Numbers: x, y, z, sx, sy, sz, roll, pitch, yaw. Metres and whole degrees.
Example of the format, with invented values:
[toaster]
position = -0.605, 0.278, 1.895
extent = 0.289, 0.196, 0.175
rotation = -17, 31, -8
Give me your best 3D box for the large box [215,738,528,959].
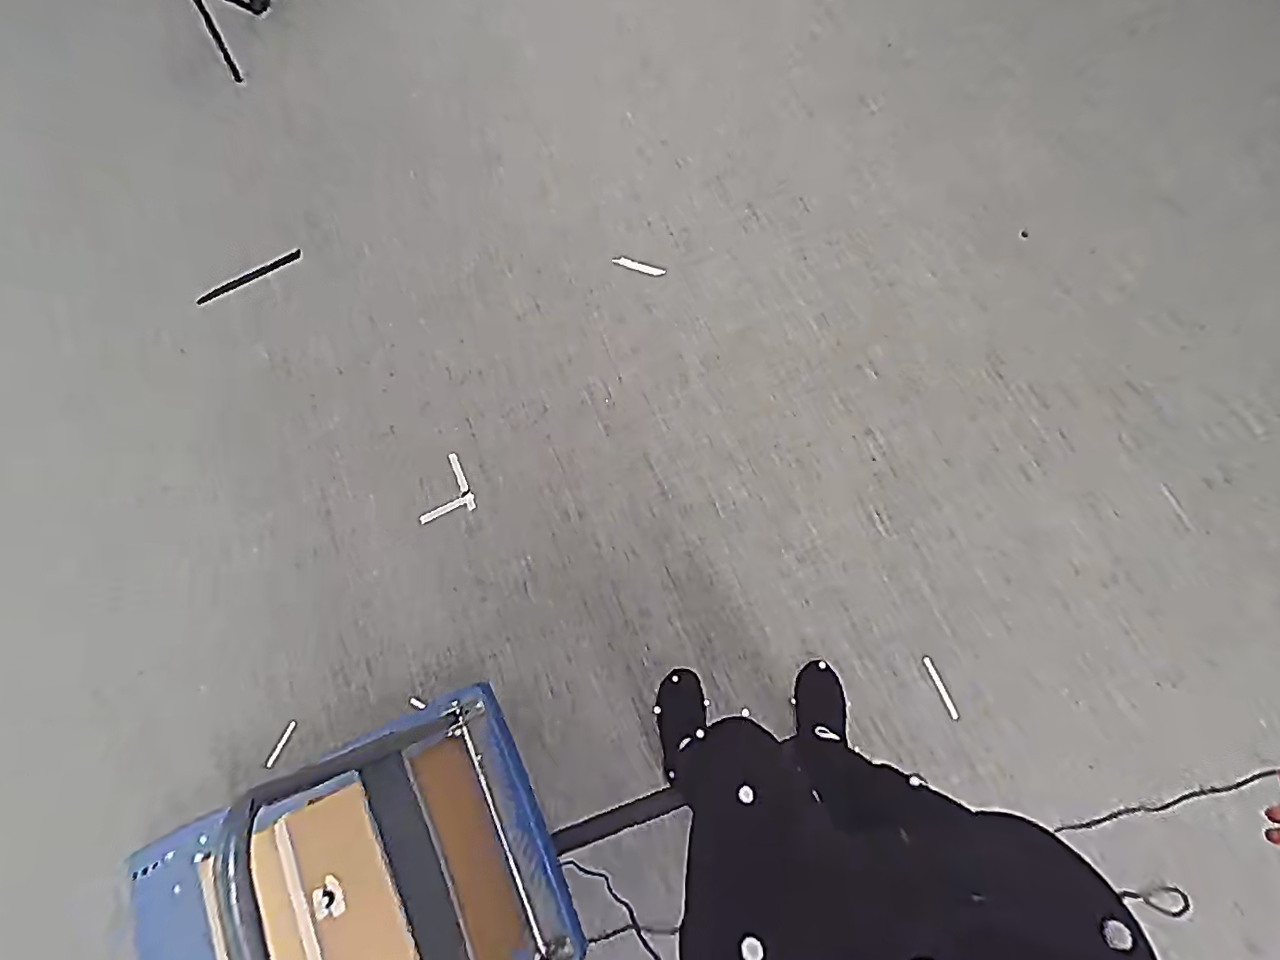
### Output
[large box]
position = -0.454, 0.753, 0.971
extent = 0.320, 0.320, 0.408
rotation = -27, 74, 0
